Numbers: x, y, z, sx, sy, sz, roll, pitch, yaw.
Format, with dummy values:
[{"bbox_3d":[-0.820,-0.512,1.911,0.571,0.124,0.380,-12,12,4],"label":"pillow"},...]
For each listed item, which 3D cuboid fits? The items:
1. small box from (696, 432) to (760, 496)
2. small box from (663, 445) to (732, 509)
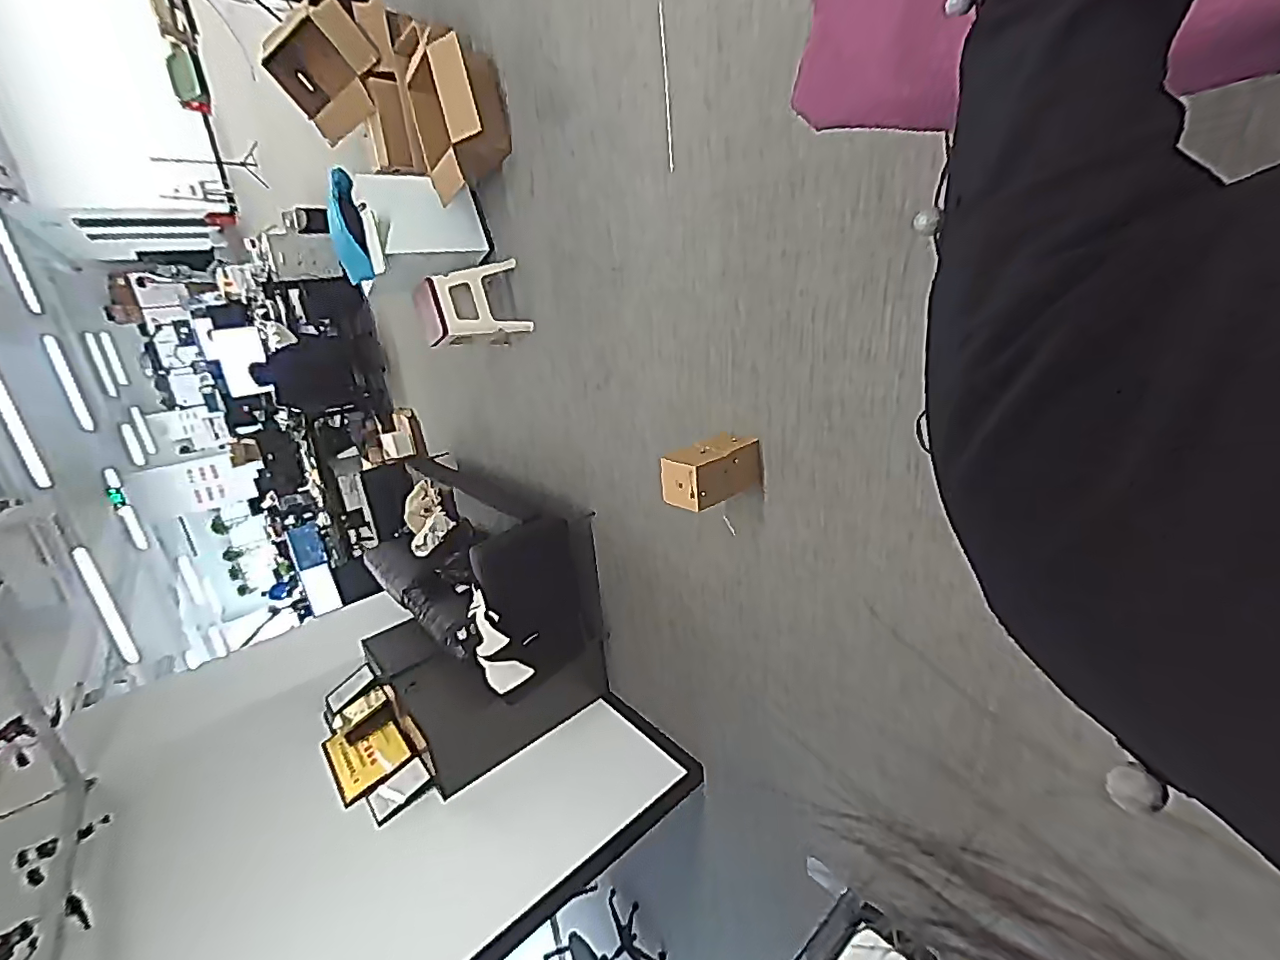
[{"bbox_3d":[0.325,-0.065,1.982,0.168,0.176,0.179,18,120,47],"label":"small box"},{"bbox_3d":[0.201,-0.018,1.886,0.179,0.176,0.168,19,121,48],"label":"small box"}]
